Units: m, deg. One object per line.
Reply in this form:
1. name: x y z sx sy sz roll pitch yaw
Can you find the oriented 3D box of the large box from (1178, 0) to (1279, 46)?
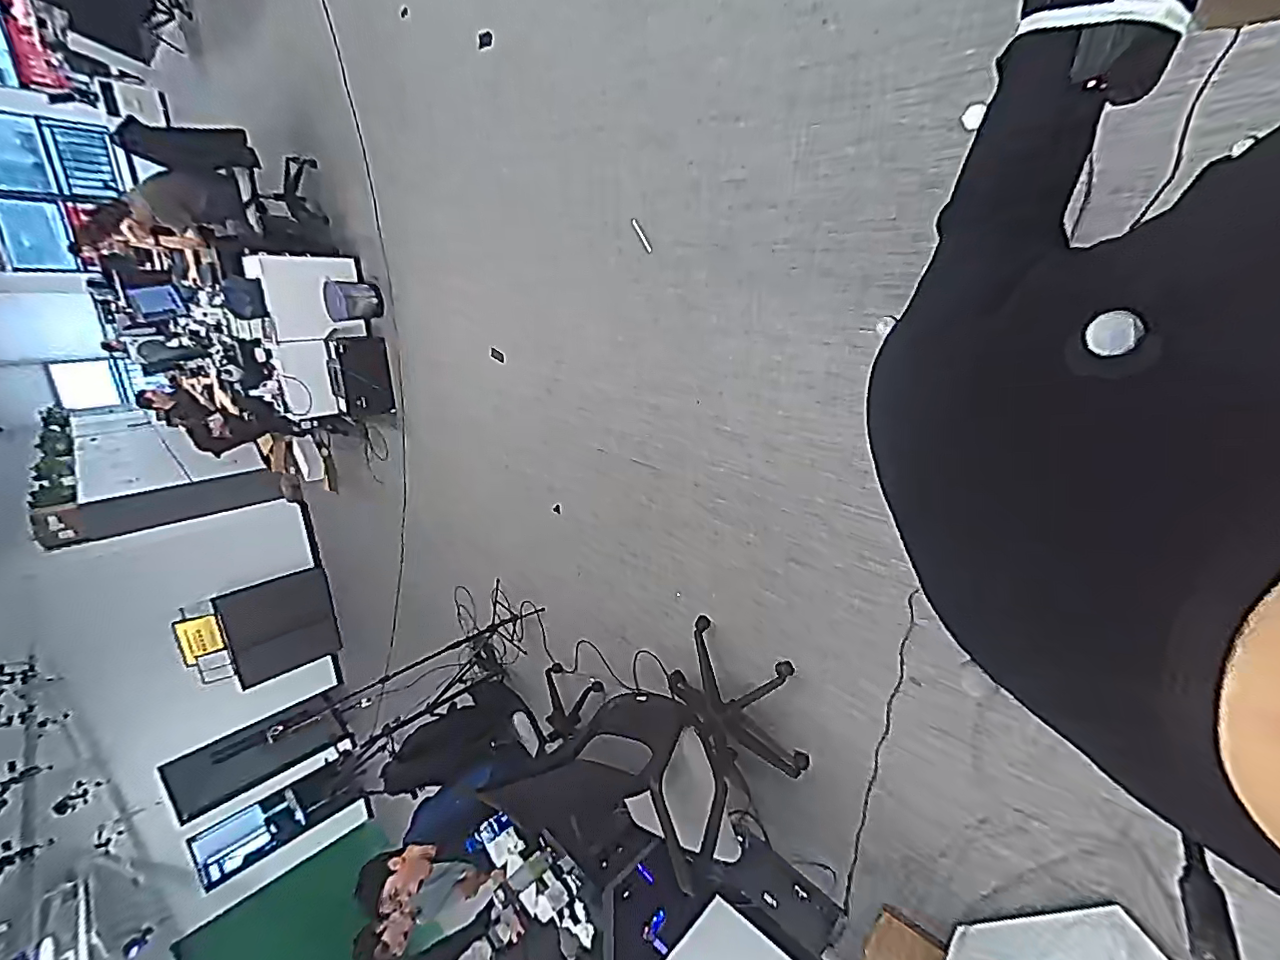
1. large box: 0.560 -0.443 0.235 0.408 0.320 0.320 22 127 38
